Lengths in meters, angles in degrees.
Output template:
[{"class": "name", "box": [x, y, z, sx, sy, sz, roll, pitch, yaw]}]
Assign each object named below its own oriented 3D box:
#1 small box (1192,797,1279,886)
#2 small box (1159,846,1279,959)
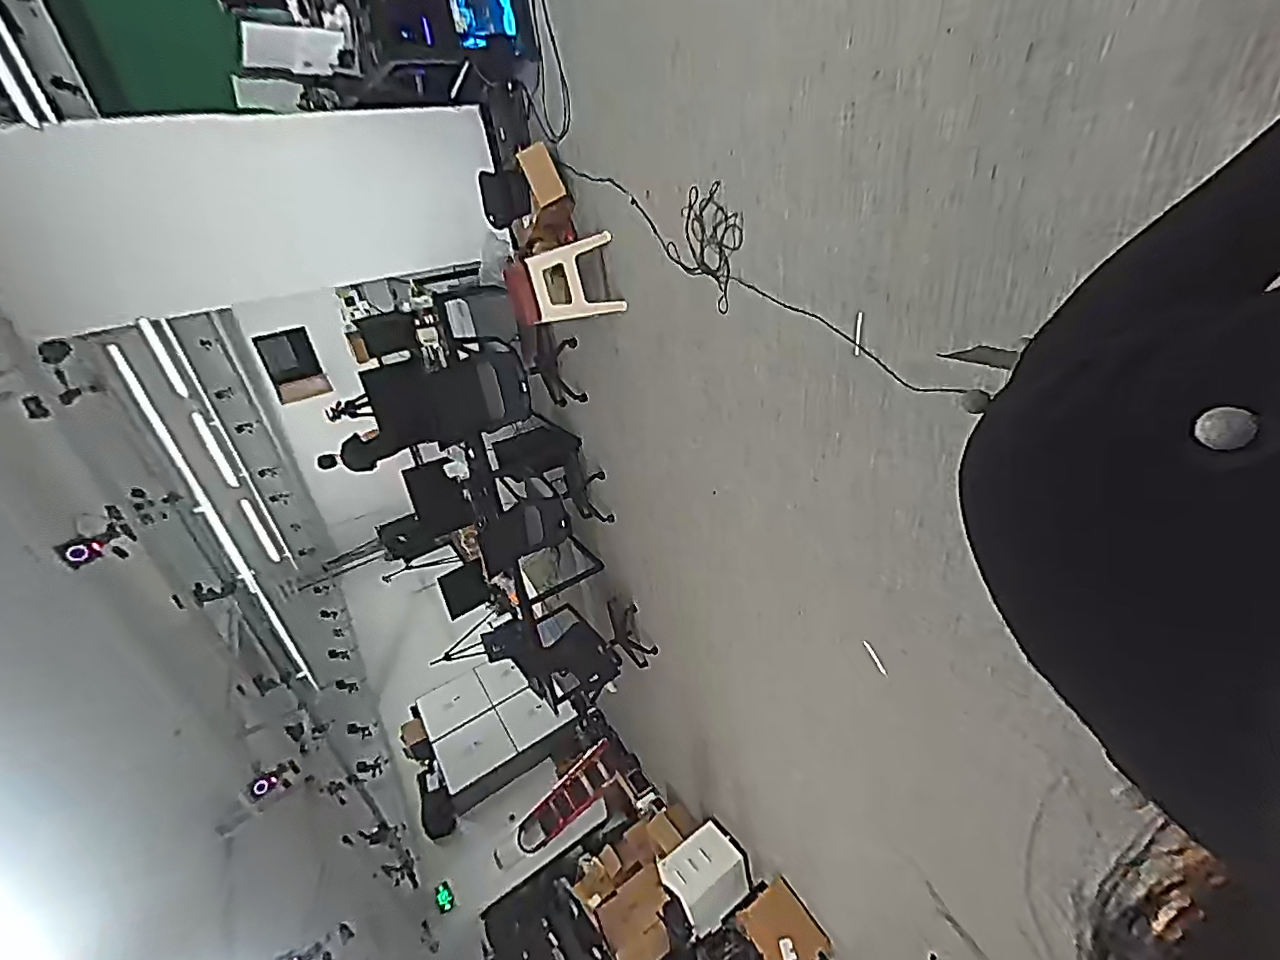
[{"class": "small box", "box": [1.455, 0.912, 1.284, 0.168, 0.176, 0.179, 16, 126, 56]}, {"class": "small box", "box": [1.327, 0.980, 1.210, 0.168, 0.176, 0.179, 32, 138, 48]}]
